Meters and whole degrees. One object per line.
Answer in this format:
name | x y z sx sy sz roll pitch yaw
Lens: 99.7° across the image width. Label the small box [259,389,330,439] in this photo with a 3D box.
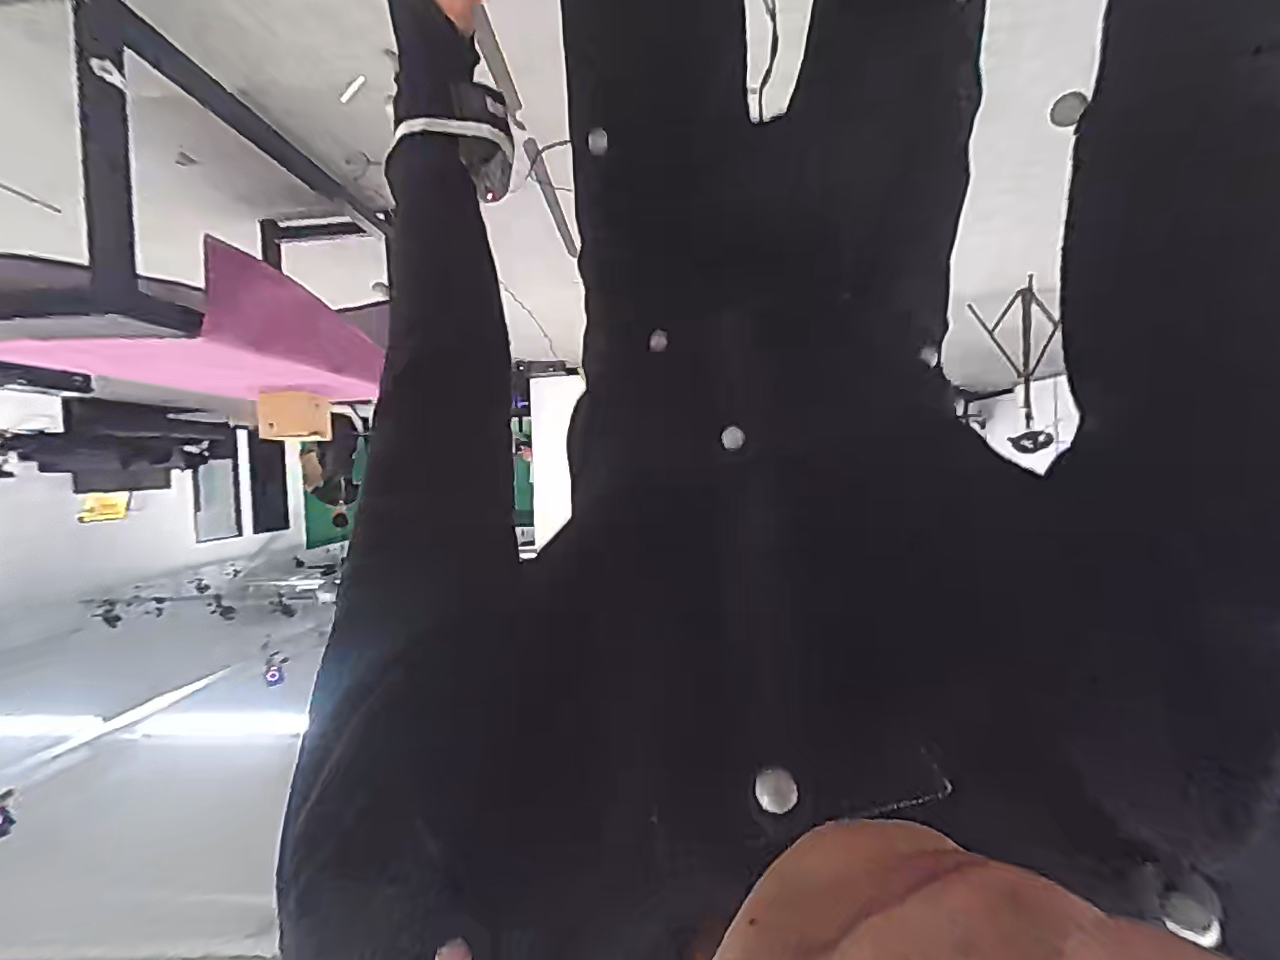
small box | -1.309 -0.247 2.053 0.179 0.176 0.168 -3 -178 1
